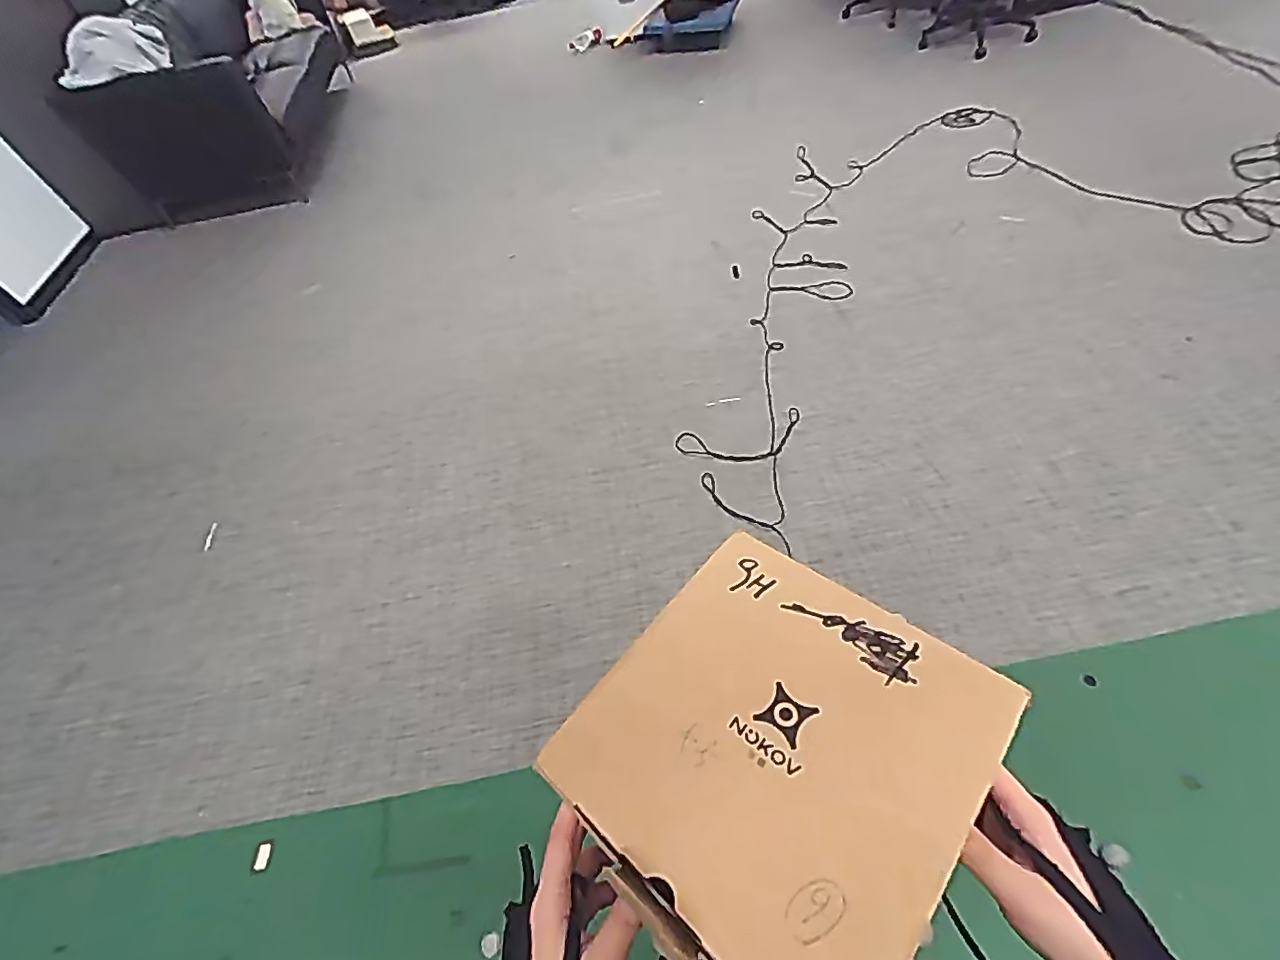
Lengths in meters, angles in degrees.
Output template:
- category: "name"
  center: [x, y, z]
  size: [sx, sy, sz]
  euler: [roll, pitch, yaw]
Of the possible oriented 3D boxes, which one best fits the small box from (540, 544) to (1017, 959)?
- category: "small box"
  center: [0.078, 0.179, 0.320]
  size: [0.168, 0.176, 0.179]
  euler: [29, 61, 33]
